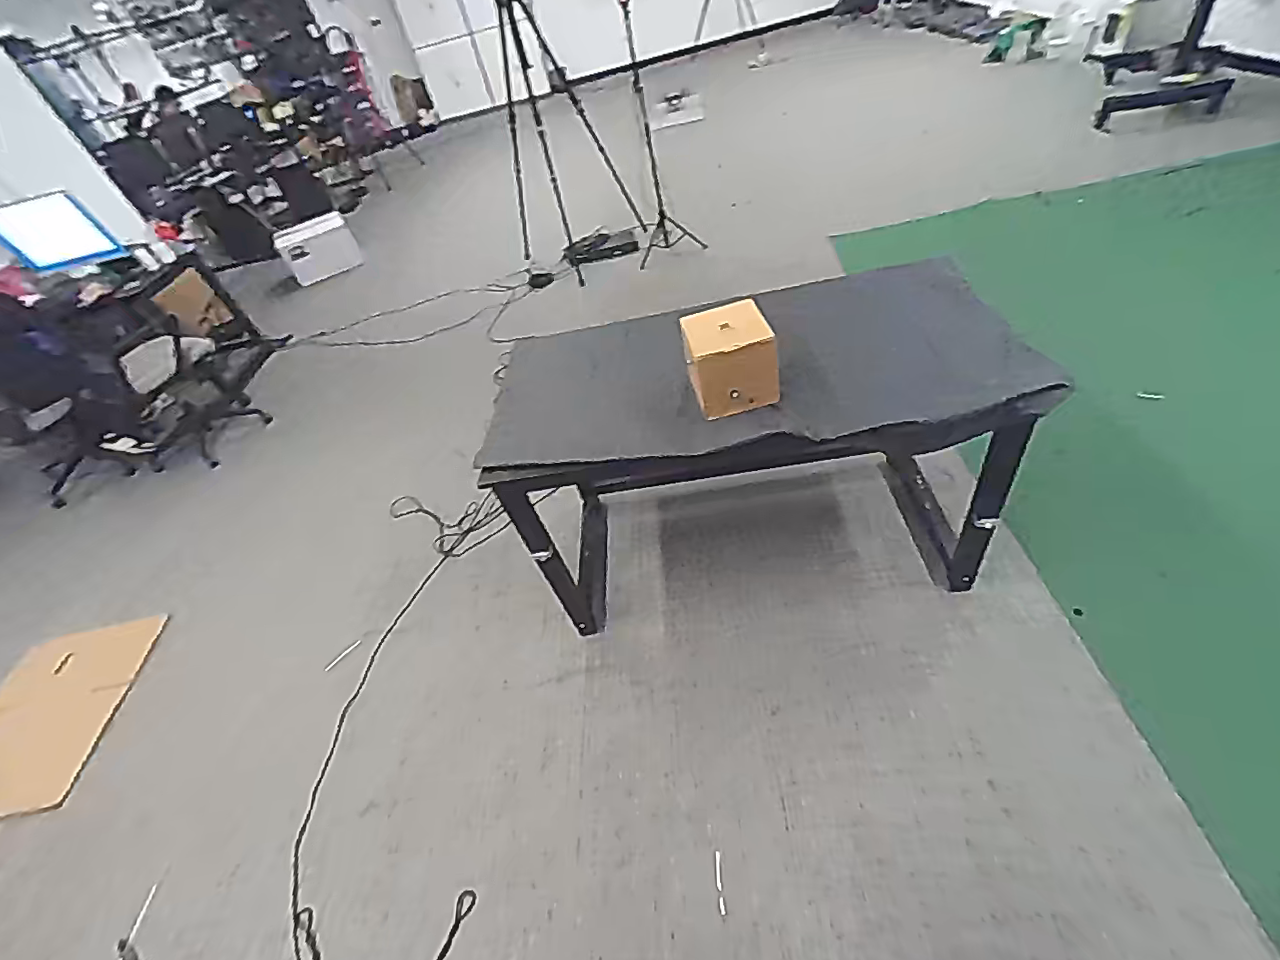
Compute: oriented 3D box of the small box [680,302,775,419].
[{"bbox_3d":[0.194,-0.262,1.197,0.168,0.176,0.179,-15,45,2],"label":"small box"}]
